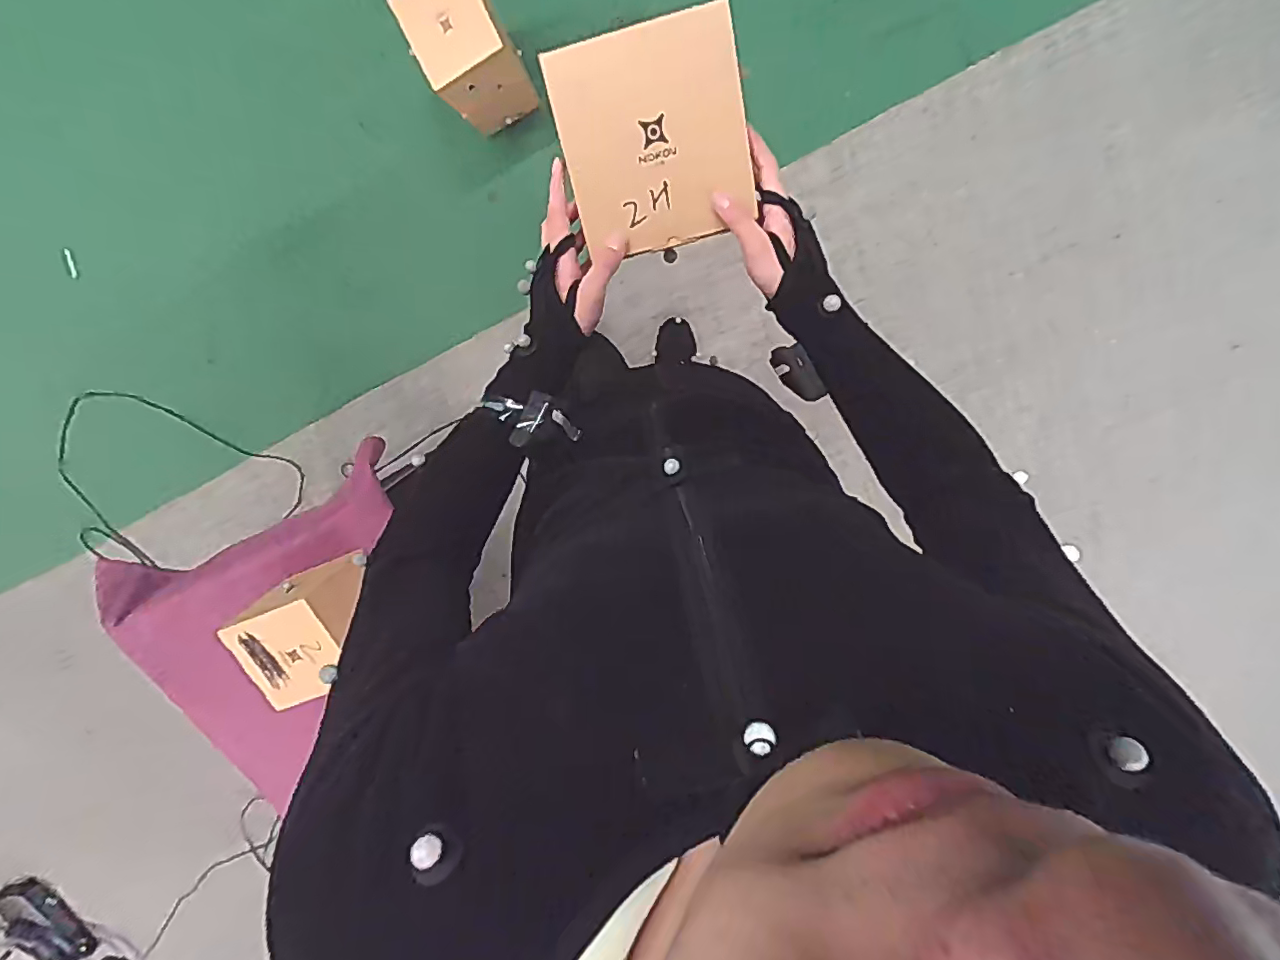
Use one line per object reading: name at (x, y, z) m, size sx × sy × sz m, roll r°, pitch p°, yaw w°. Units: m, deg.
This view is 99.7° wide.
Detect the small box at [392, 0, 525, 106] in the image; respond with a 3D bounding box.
small box at (-0.360, -0.909, 1.110) m, size 0.168 × 0.176 × 0.179 m, roll -24°, pitch 105°, yaw 12°

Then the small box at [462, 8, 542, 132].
small box at (-0.353, -0.960, 1.263) m, size 0.168 × 0.176 × 0.179 m, roll -24°, pitch 107°, yaw 12°

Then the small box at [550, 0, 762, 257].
small box at (0.019, -0.336, 0.553) m, size 0.168 × 0.176 × 0.179 m, roll -11°, pitch 113°, yaw 6°
